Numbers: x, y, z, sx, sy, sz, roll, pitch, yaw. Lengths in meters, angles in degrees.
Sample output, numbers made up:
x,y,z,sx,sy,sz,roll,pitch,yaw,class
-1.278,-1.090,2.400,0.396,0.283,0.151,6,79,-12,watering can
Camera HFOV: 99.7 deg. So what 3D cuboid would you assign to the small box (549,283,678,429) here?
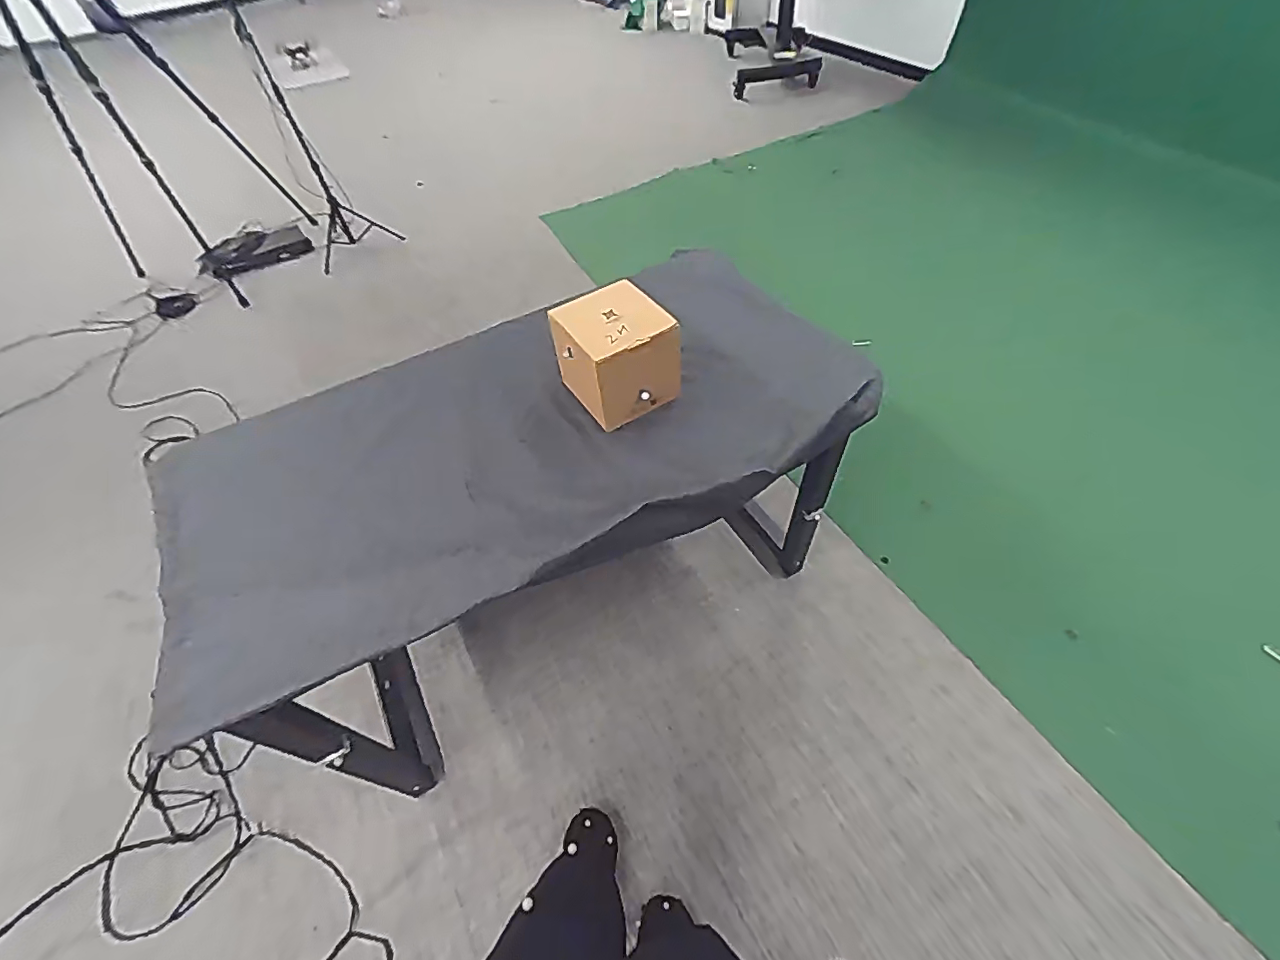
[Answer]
x,y,z,sx,sy,sz,roll,pitch,yaw,class
-0.046,-0.226,0.994,0.168,0.176,0.179,-29,56,-17,small box
